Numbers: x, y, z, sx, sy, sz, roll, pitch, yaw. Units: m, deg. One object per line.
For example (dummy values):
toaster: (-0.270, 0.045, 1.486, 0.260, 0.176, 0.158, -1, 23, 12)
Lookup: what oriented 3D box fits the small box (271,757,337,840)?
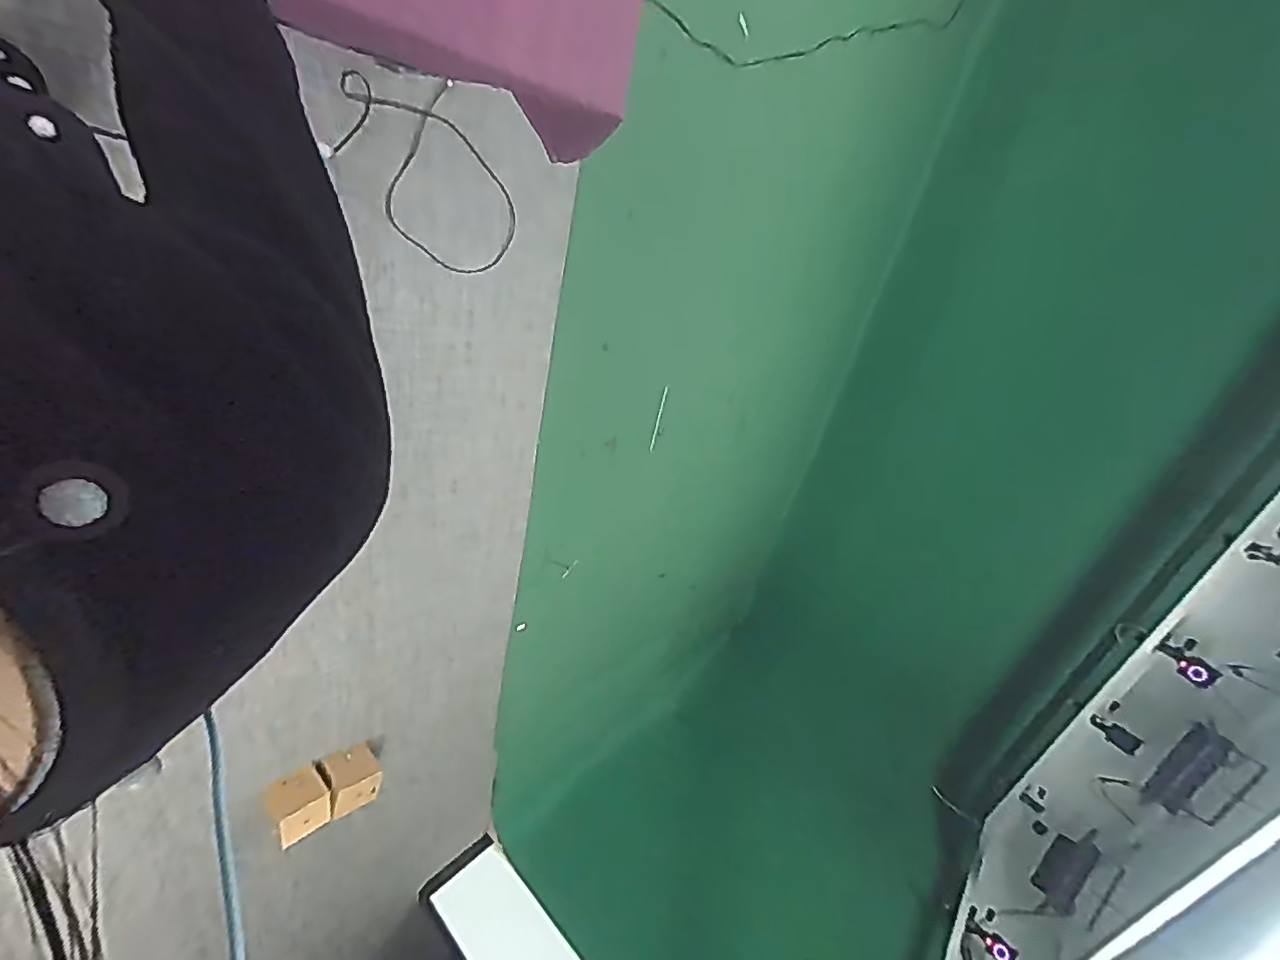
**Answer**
small box: (-1.274, 1.201, 2.049, 0.168, 0.176, 0.179, -18, 131, -46)
